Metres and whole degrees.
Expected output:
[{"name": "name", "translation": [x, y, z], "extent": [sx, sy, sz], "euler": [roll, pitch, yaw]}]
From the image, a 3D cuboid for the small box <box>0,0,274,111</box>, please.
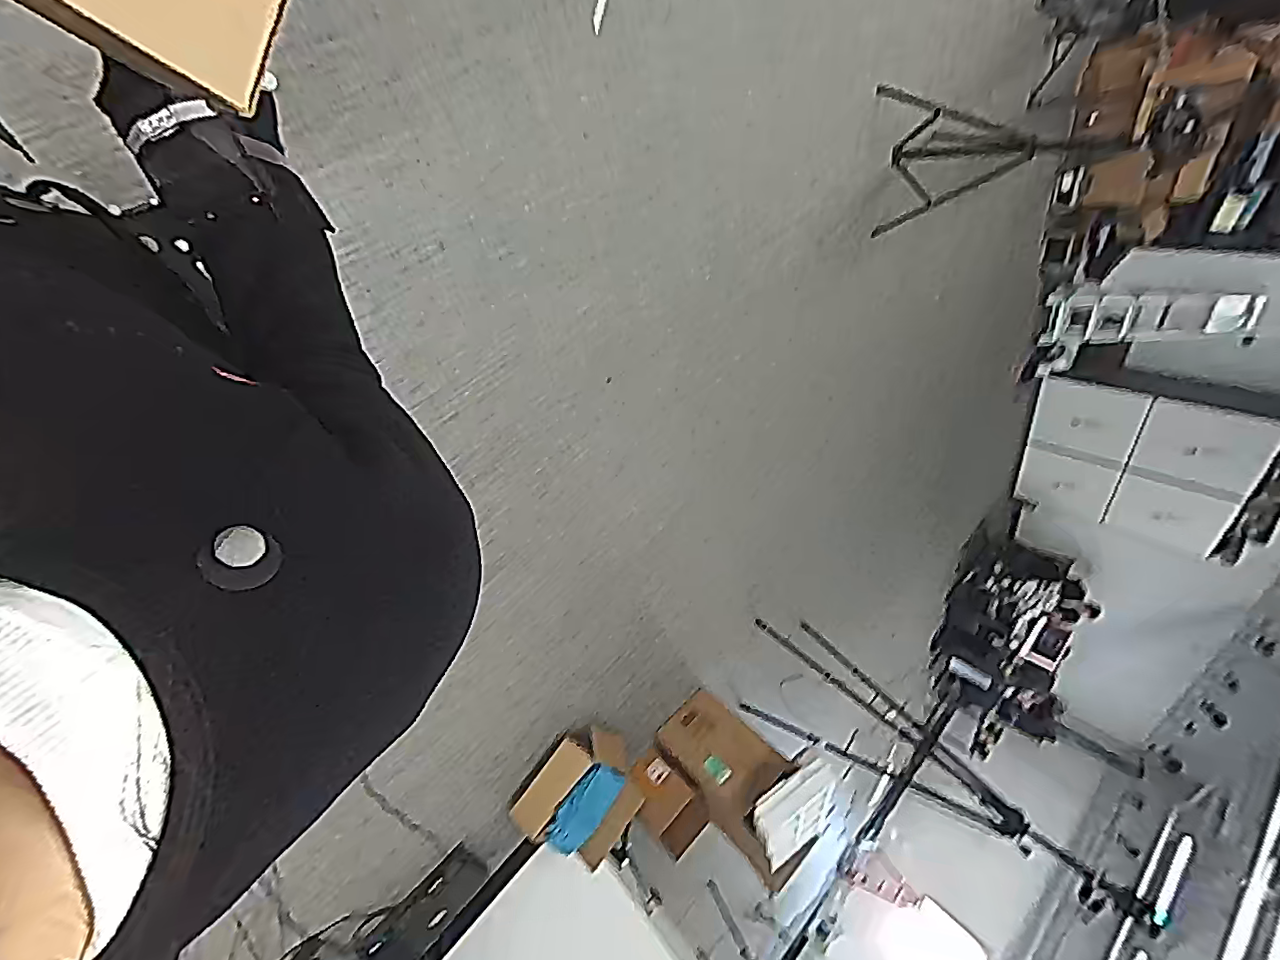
[{"name": "small box", "translation": [-0.240, -0.276, 0.185], "extent": [0.176, 0.168, 0.179], "euler": [11, 109, -58]}]
